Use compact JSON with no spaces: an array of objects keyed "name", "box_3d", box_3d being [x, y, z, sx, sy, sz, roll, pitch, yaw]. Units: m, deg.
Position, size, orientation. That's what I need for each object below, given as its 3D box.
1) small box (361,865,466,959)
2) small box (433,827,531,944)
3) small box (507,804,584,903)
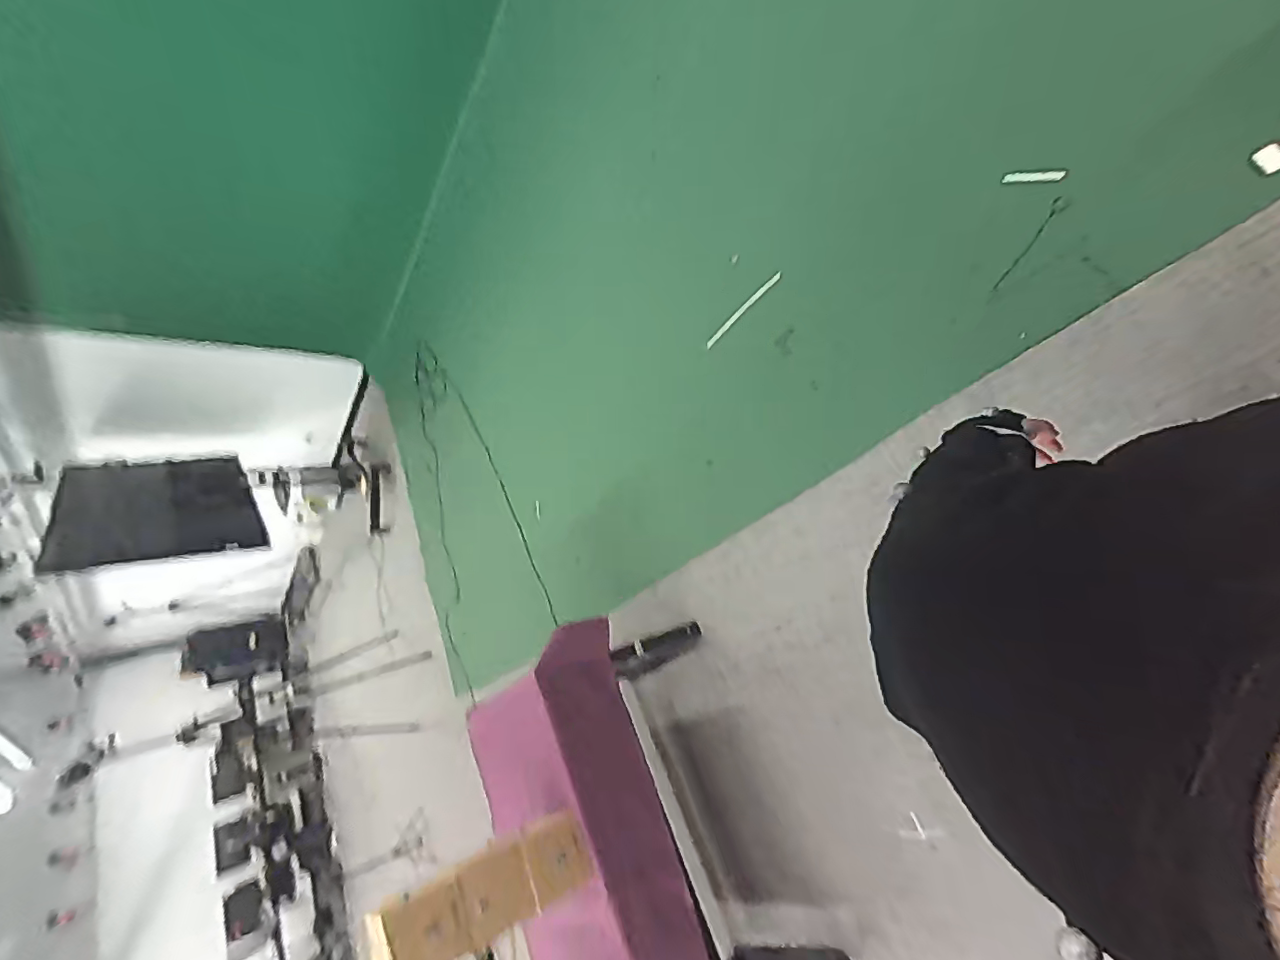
[{"name":"small box","box_3d":[-0.521,1.024,1.253,0.179,0.176,0.168,-39,65,41]},{"name":"small box","box_3d":[-0.396,1.009,1.359,0.168,0.176,0.179,-39,64,42]},{"name":"small box","box_3d":[-0.270,1.005,1.466,0.179,0.176,0.168,-40,64,42]}]
